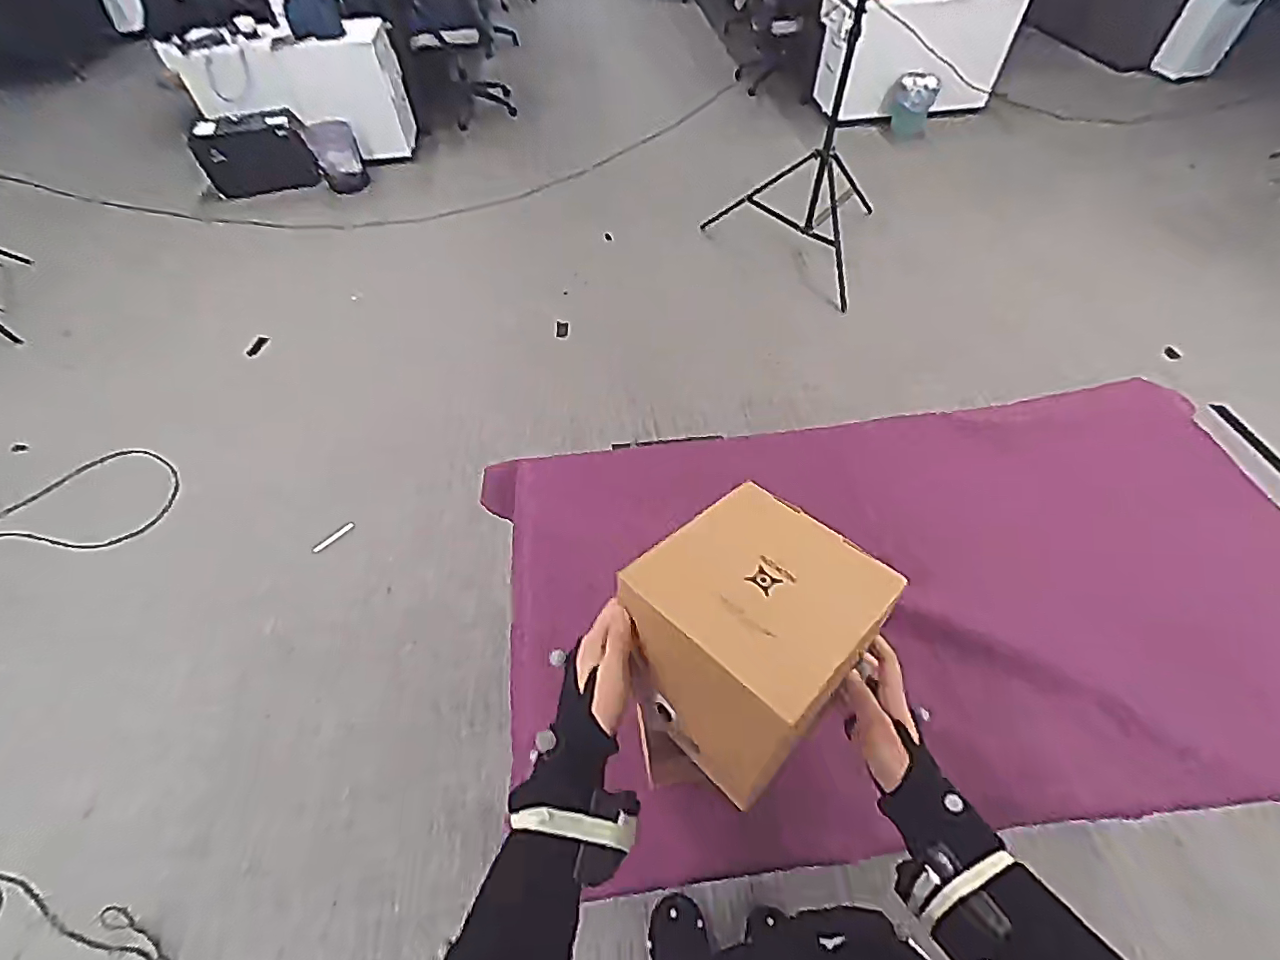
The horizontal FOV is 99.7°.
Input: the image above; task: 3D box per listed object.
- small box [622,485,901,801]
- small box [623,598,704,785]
[{"bbox_3d":[0.095,0.141,0.491,0.168,0.176,0.179,35,50,30],"label":"small box"},{"bbox_3d":[0.073,0.244,0.650,0.168,0.176,0.179,-9,53,-5],"label":"small box"}]
